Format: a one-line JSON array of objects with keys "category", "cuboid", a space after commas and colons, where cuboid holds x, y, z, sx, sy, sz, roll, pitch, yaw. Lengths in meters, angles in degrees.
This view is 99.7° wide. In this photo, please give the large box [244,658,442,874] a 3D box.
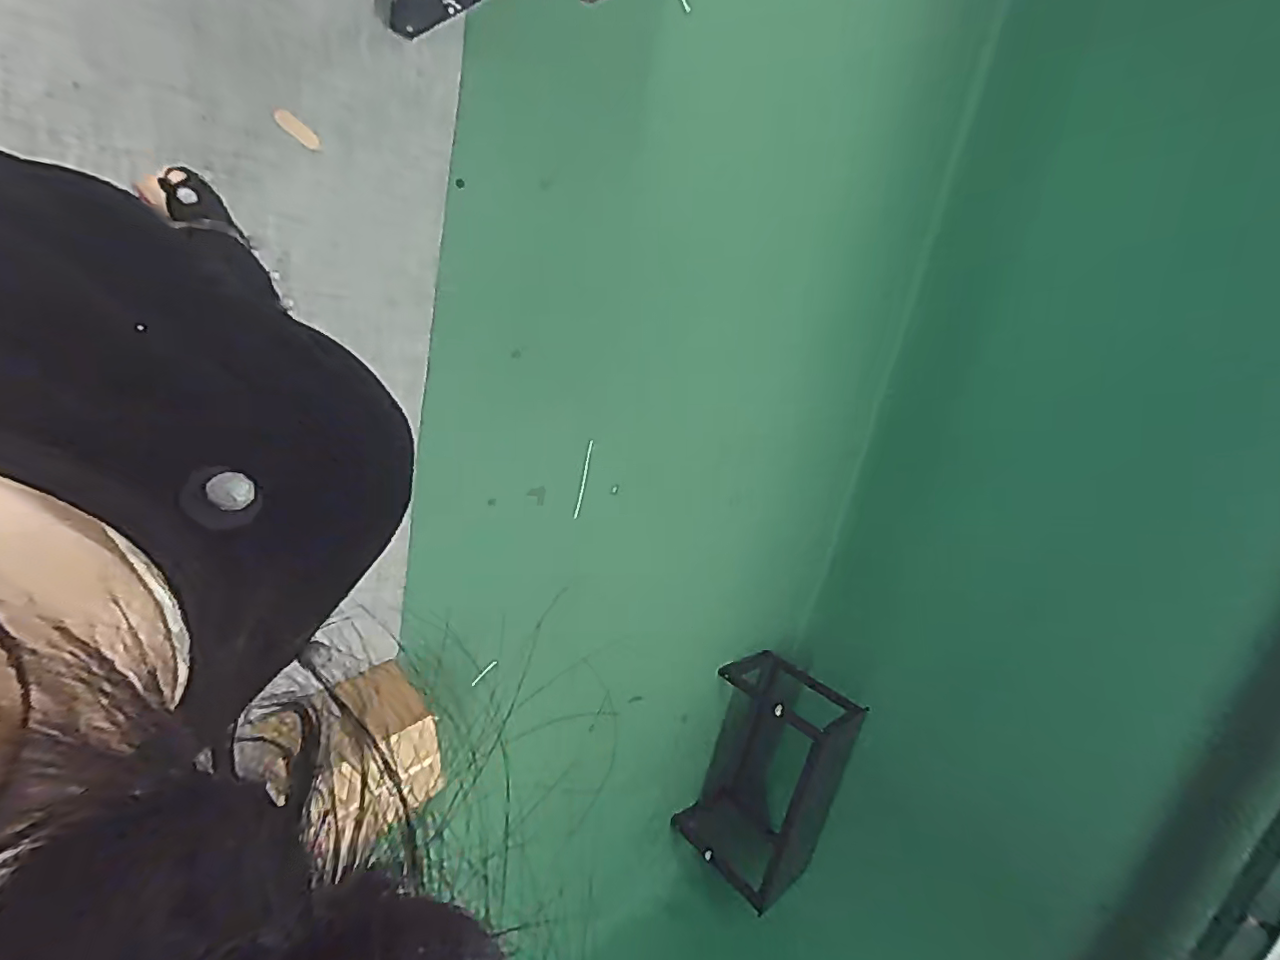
[{"category": "large box", "cuboid": [-0.858, 0.806, 1.587, 0.408, 0.320, 0.320, -20, 123, -40]}]
